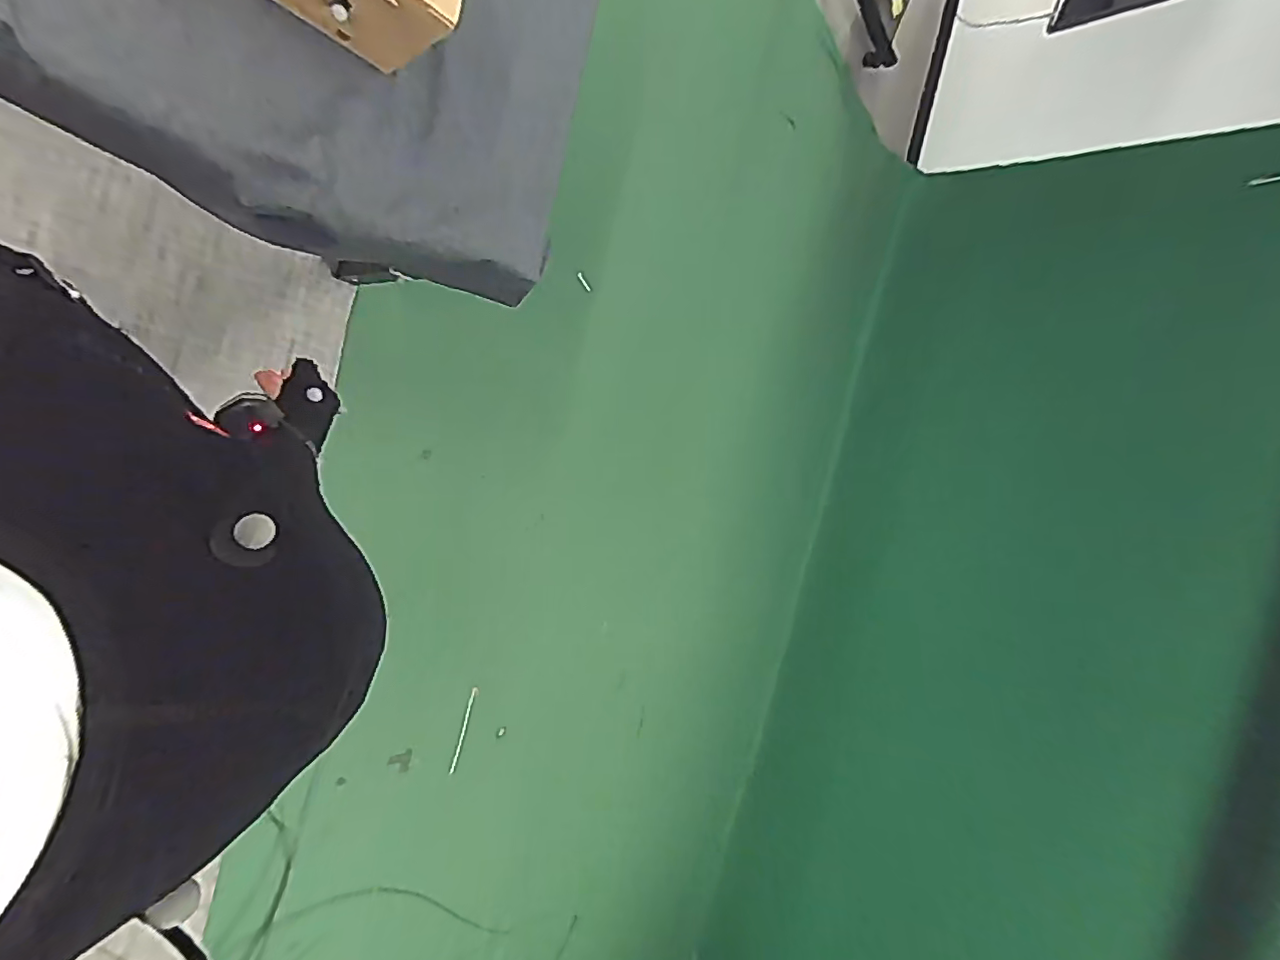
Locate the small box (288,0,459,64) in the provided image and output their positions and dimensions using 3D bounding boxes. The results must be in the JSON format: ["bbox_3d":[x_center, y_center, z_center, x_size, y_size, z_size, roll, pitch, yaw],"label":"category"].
[{"bbox_3d":[-0.289,-0.577,0.551,0.168,0.176,0.179,7,97,-50],"label":"small box"}]
